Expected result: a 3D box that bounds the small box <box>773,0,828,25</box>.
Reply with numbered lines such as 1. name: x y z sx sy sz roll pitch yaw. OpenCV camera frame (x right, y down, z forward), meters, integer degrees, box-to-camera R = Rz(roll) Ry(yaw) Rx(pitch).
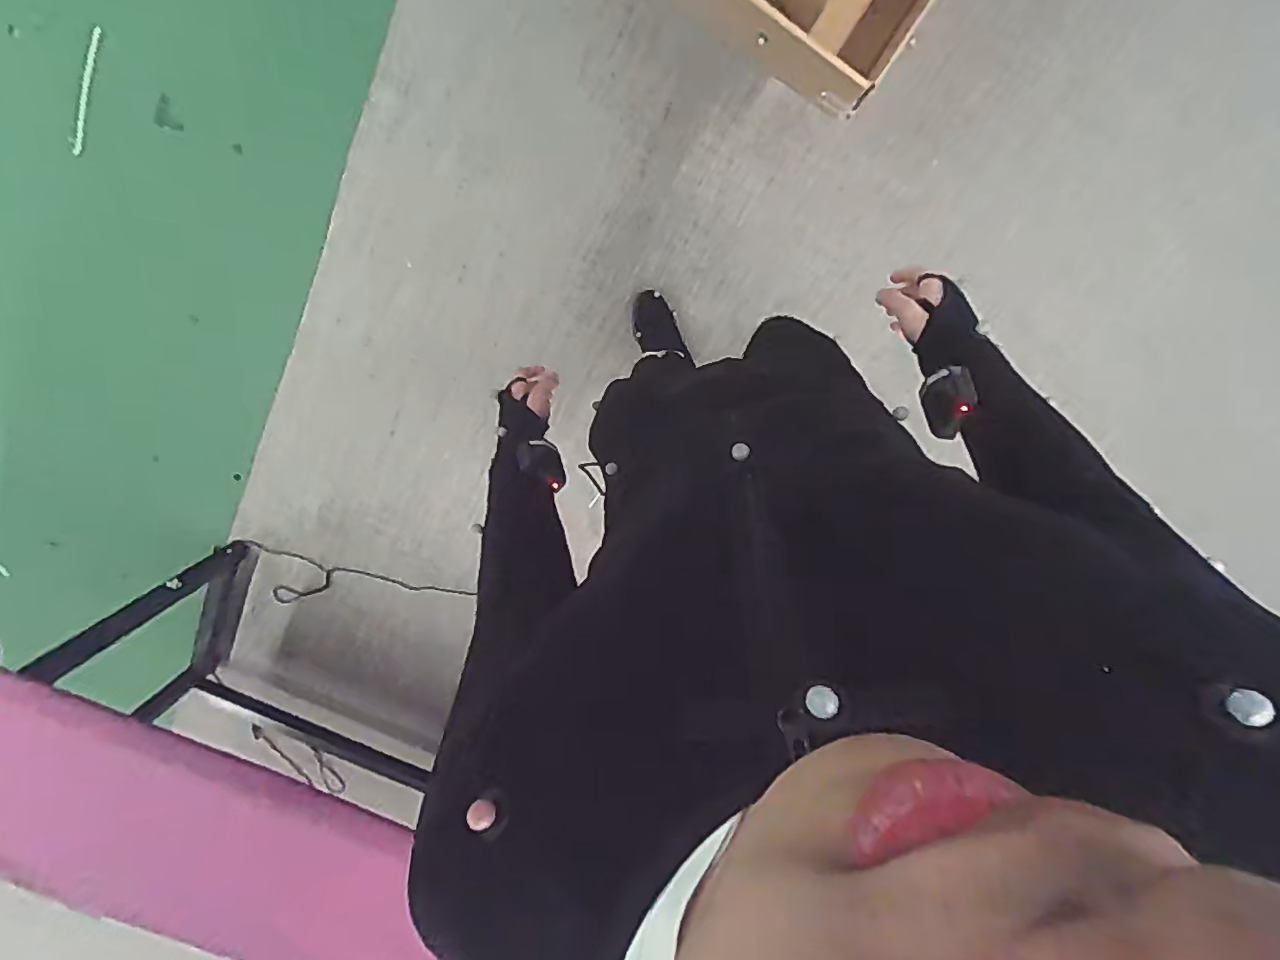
1. small box: 0.266 -0.857 0.814 0.168 0.176 0.179 32 108 -7
